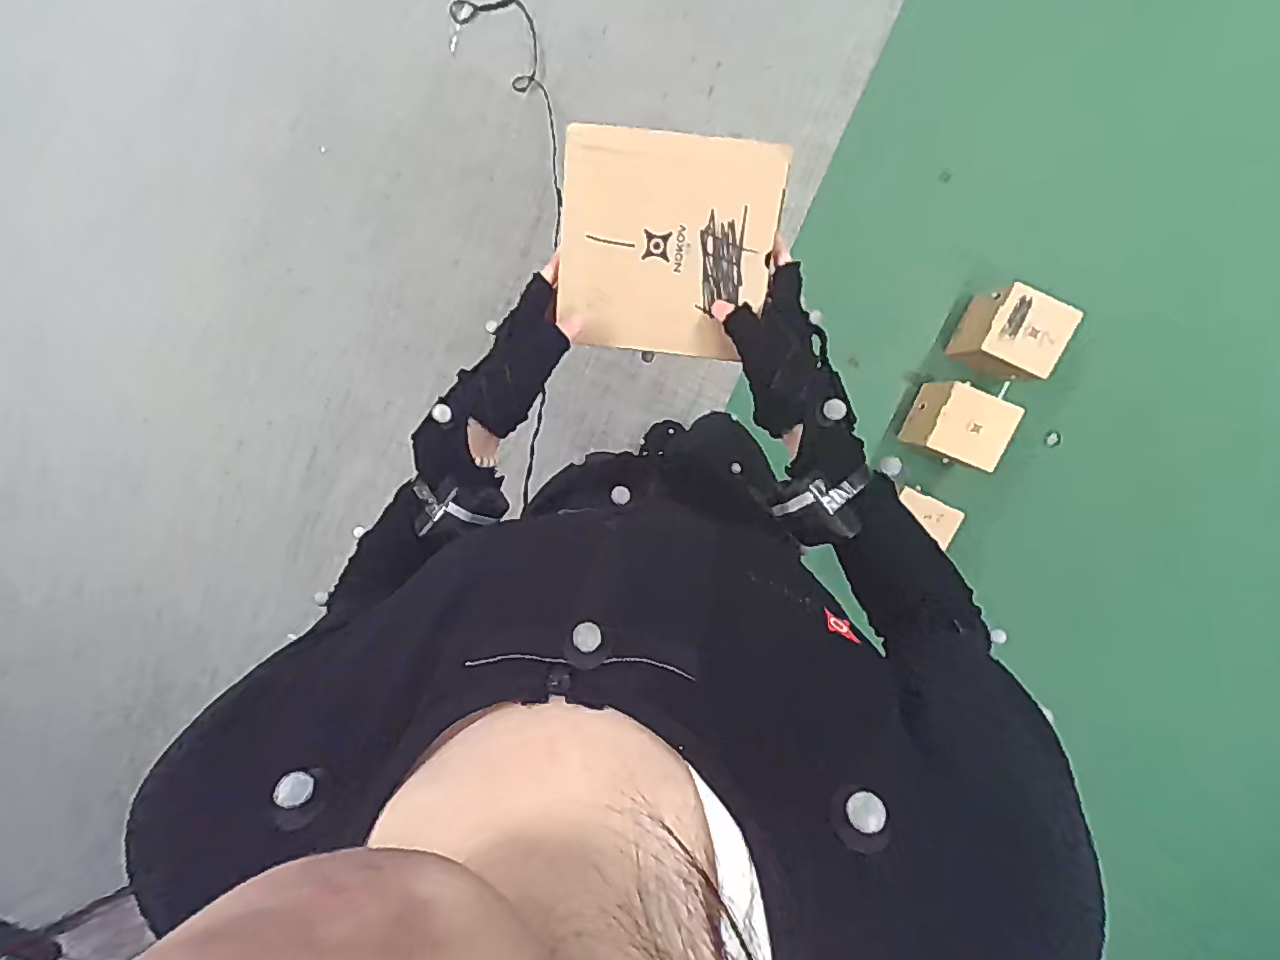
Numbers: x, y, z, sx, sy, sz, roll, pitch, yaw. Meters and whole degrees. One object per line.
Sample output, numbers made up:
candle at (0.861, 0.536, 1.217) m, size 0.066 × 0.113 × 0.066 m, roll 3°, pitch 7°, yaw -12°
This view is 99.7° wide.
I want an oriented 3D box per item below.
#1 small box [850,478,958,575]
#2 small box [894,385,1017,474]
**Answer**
small box at (0.671, 0.114, 1.405) m, size 0.168 × 0.176 × 0.179 m, roll 25°, pitch 100°, yaw -1°
small box at (0.784, -0.133, 1.362) m, size 0.179 × 0.176 × 0.168 m, roll 22°, pitch 100°, yaw 0°
